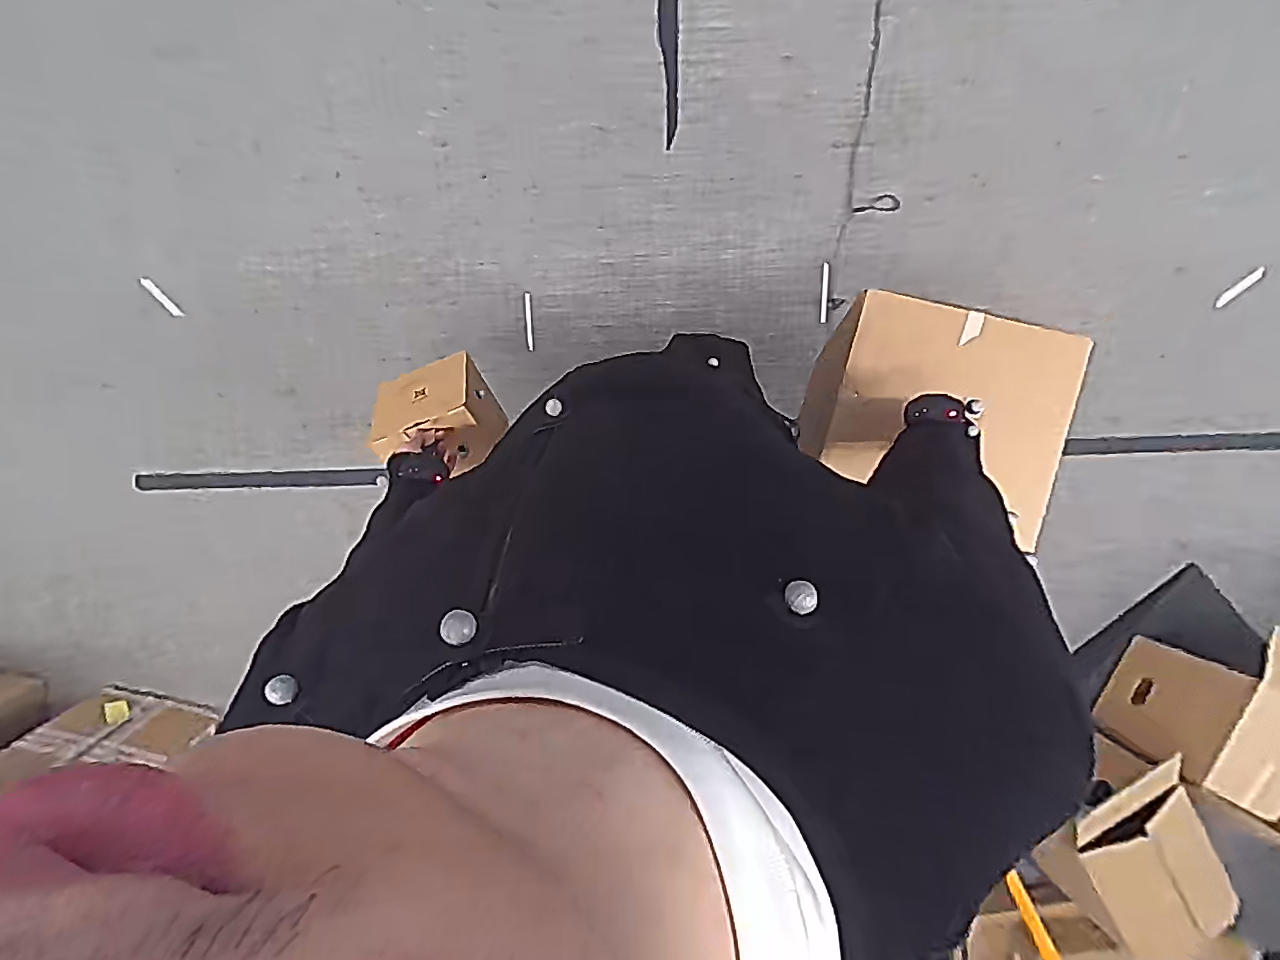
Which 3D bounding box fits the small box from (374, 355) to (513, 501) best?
[{"bbox_3d":[-0.336,-0.084,0.954,0.168,0.179,0.176,-21,134,1],"label":"small box"}]
